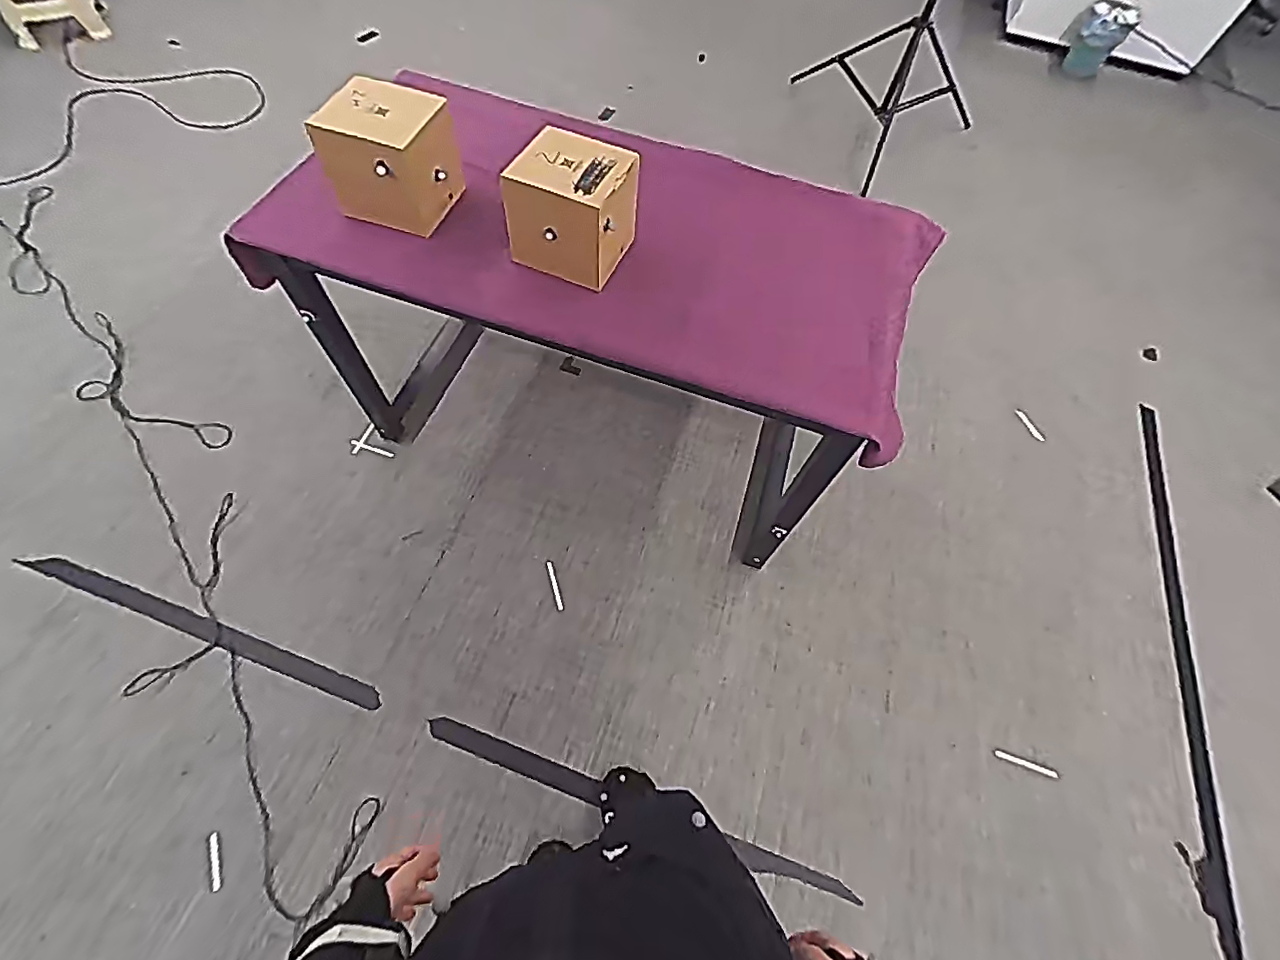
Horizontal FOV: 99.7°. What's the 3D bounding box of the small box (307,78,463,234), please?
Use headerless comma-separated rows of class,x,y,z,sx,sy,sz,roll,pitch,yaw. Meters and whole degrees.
small box,-0.443,-0.577,0.977,0.179,0.176,0.168,16,61,4
